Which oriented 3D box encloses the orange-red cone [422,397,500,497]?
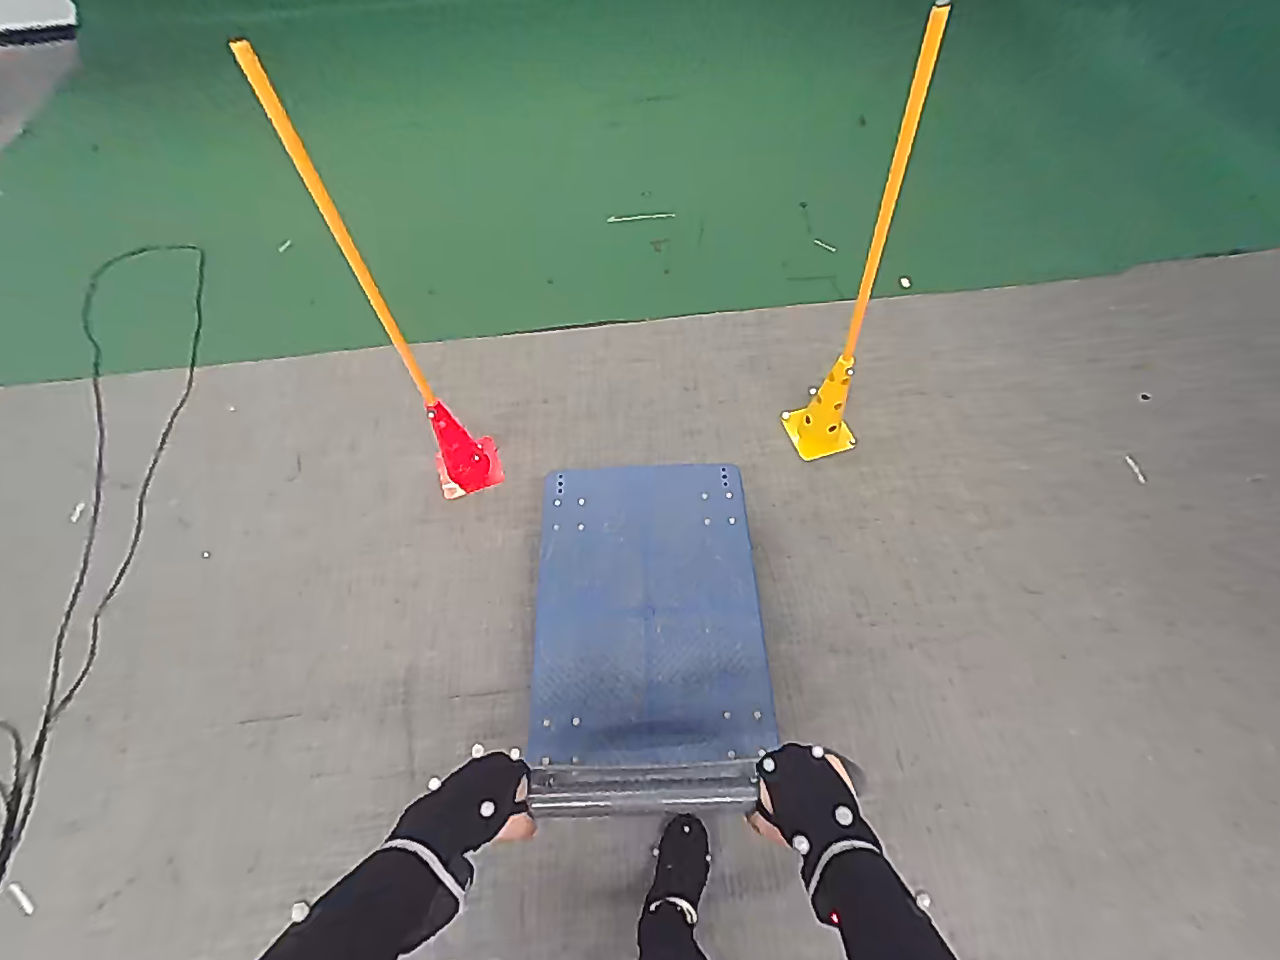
[{"bbox_3d":[-0.583,-0.130,1.655,0.199,0.360,0.198,-19,61,-8],"label":"orange-red cone"}]
